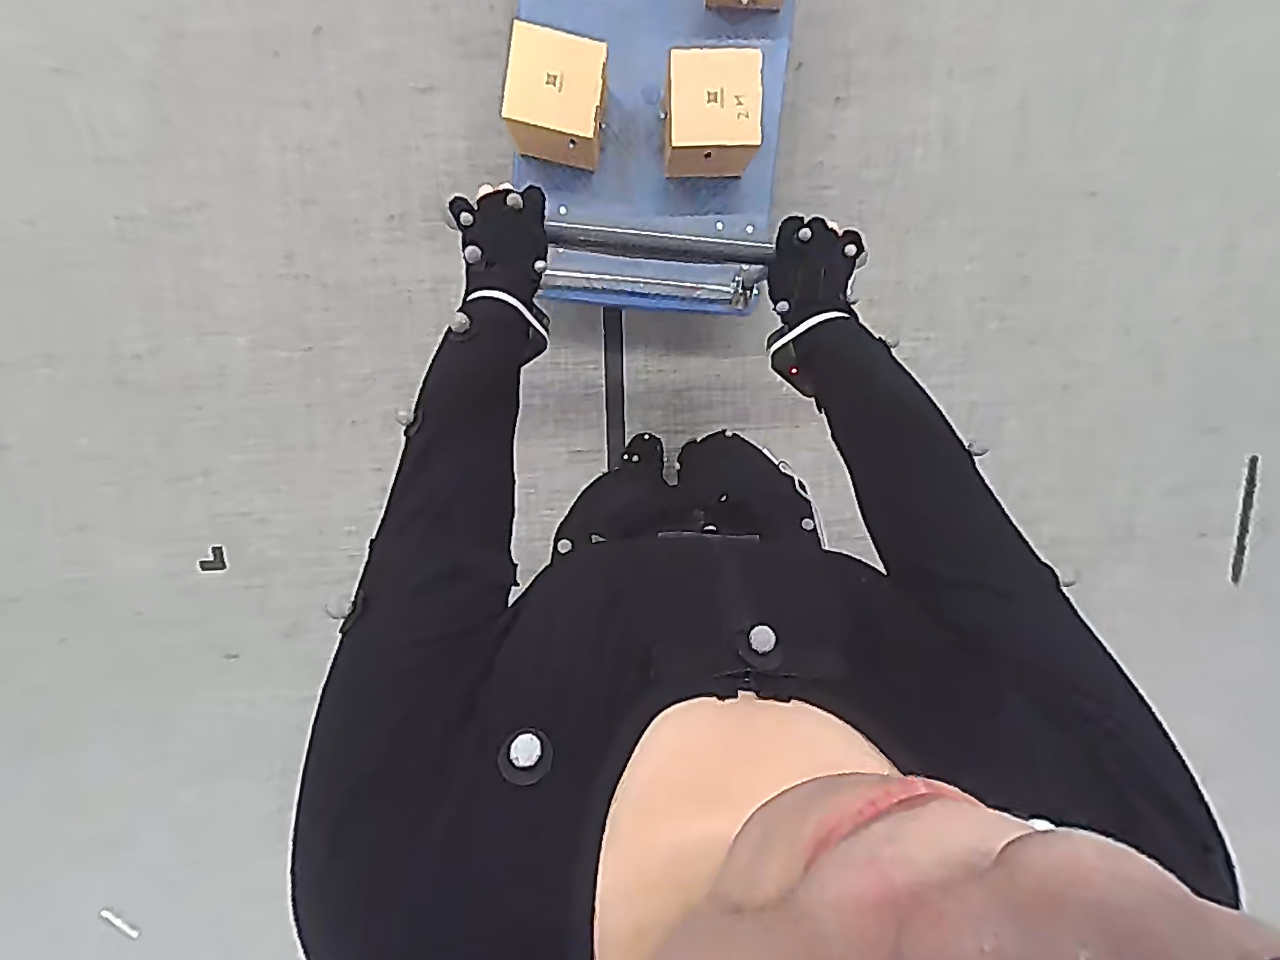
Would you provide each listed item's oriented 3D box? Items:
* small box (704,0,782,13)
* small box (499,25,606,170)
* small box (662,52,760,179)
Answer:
[{"bbox_3d":[0.213,-1.048,1.032,0.168,0.176,0.179,0,102,-2],"label":"small box"},{"bbox_3d":[-0.168,-0.746,1.077,0.179,0.176,0.168,10,100,-6],"label":"small box"},{"bbox_3d":[0.135,-0.726,1.093,0.179,0.176,0.168,-2,102,-2],"label":"small box"}]
